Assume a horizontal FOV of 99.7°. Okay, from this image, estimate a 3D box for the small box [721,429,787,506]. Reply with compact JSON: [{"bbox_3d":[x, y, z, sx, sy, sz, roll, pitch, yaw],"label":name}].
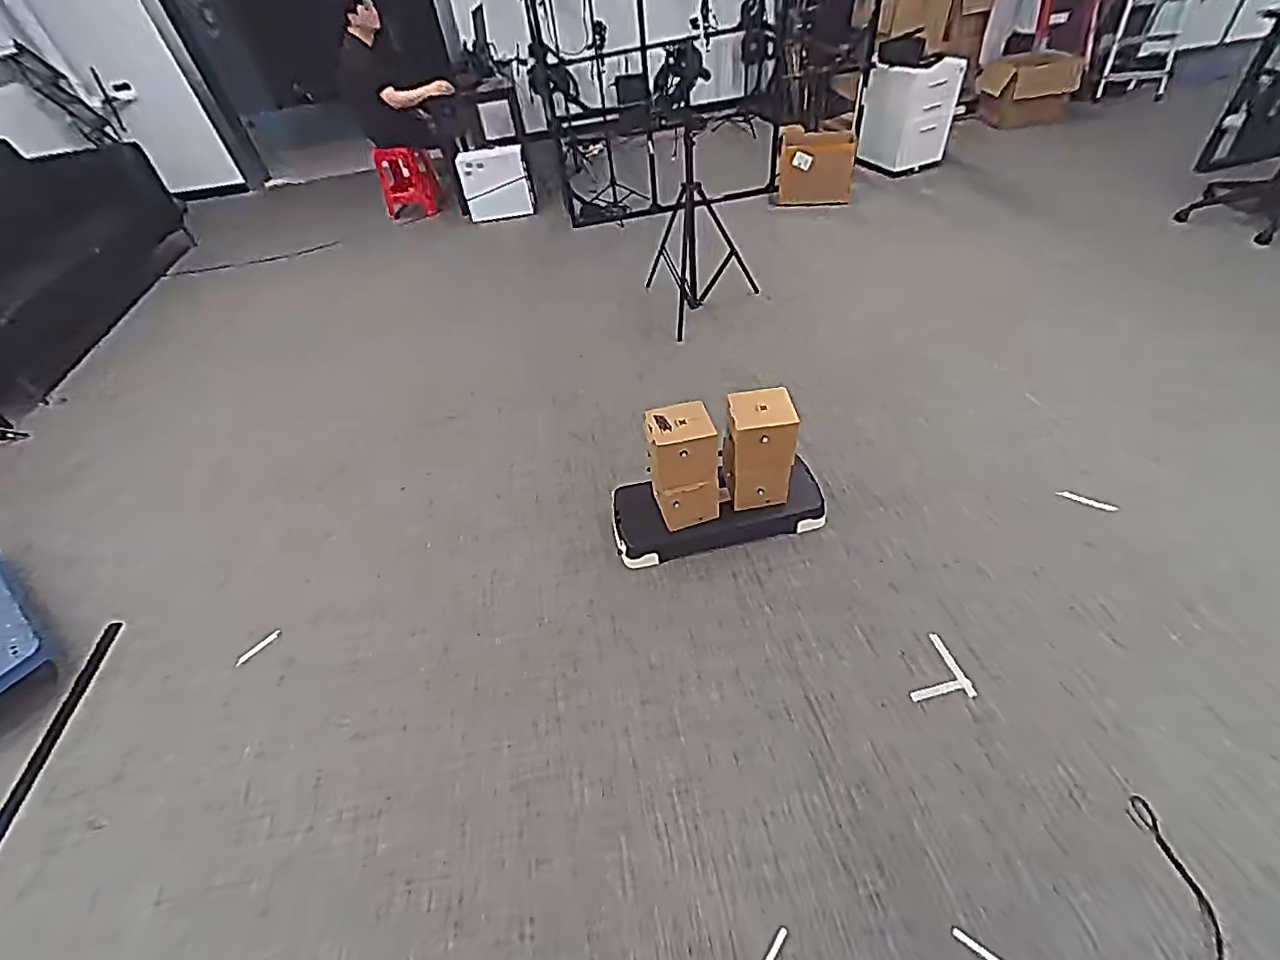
[{"bbox_3d":[0.355,-0.033,1.697,0.168,0.176,0.179,-9,45,0],"label":"small box"}]
